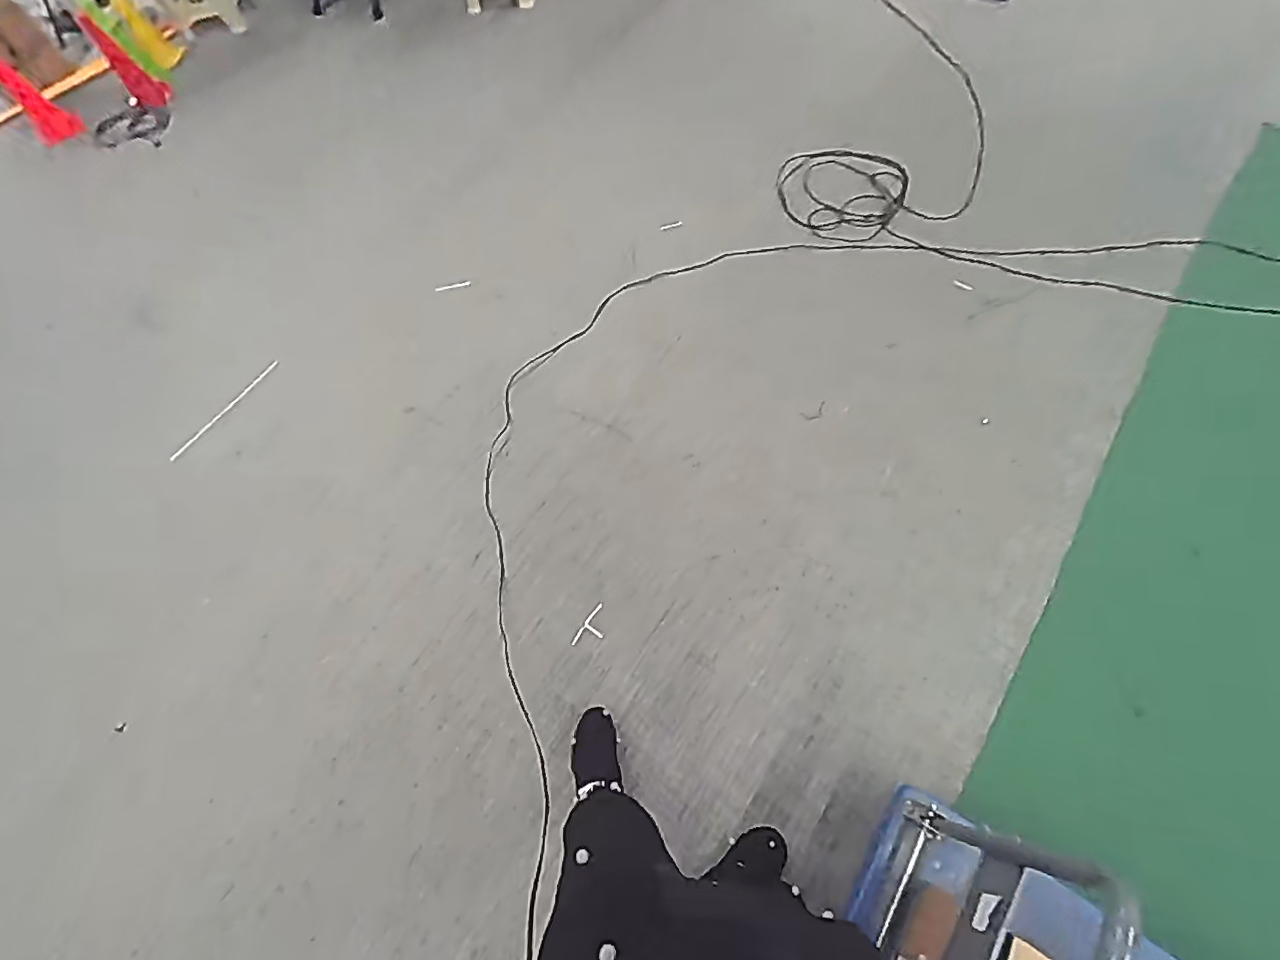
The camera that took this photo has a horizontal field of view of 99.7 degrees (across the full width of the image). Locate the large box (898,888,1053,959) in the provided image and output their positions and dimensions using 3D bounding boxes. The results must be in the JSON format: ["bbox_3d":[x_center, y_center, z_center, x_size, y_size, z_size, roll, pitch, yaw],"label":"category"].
[{"bbox_3d":[0.655,0.970,0.867,0.408,0.320,0.320,30,71,16],"label":"large box"}]
